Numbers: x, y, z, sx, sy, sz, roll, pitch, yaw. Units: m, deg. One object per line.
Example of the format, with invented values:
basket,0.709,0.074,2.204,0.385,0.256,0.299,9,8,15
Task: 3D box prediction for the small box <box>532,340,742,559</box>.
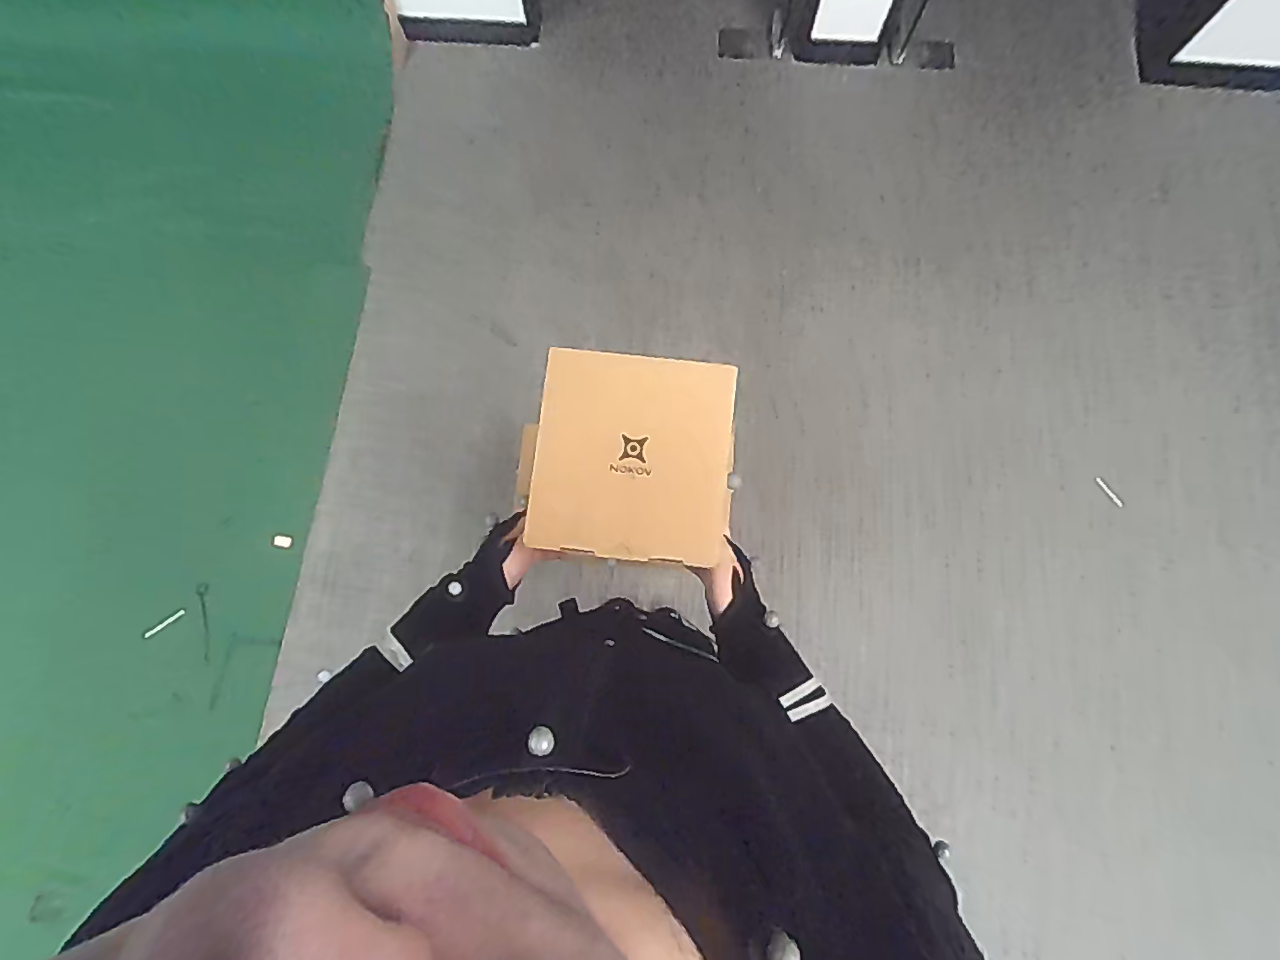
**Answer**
small box,-0.003,-0.018,0.542,0.168,0.176,0.179,7,83,0
